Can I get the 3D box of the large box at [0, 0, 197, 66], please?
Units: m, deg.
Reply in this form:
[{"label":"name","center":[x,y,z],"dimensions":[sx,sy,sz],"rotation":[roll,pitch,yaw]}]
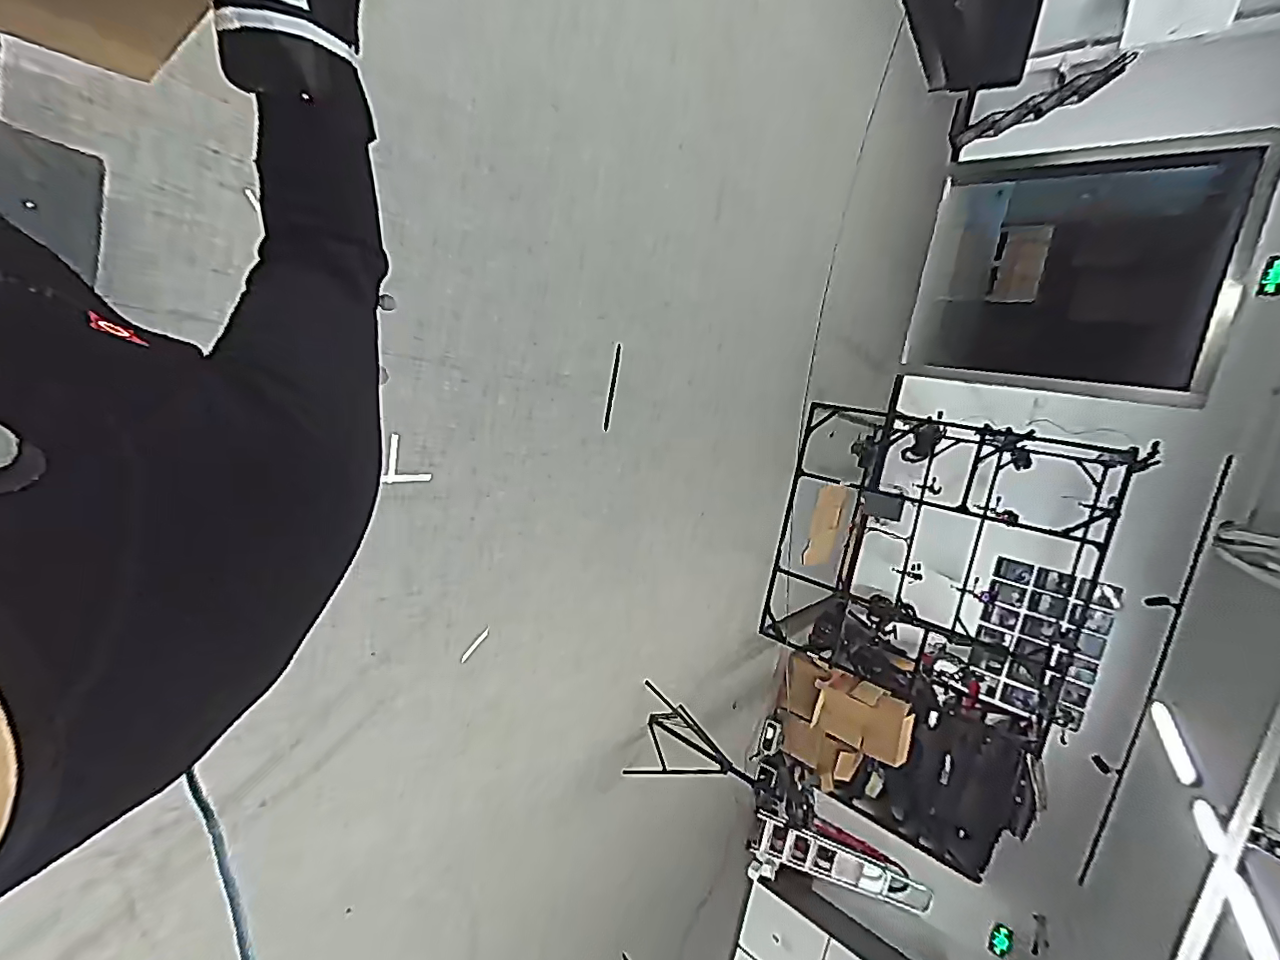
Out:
[{"label":"large box","center":[-0.462,-0.481,0.234],"dimensions":[0.408,0.320,0.320],"rotation":[-10,109,-52]}]
